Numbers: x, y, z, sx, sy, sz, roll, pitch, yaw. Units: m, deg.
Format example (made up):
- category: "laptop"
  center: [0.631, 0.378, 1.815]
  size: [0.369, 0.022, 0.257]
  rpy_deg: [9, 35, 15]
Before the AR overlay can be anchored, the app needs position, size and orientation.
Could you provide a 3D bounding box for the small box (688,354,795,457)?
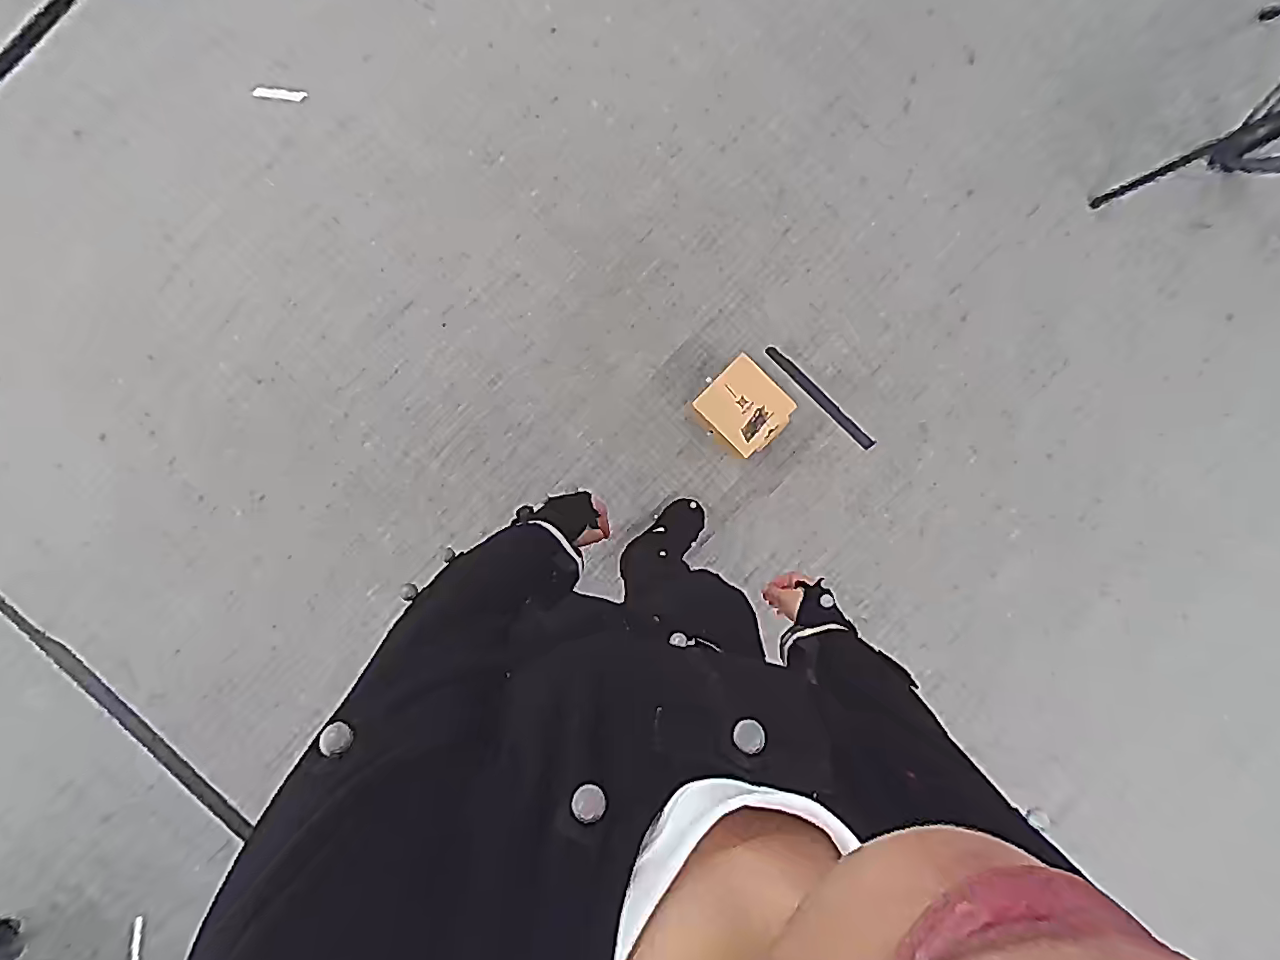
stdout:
- category: "small box"
  center: [0.234, -0.172, 1.289]
  size: [0.168, 0.176, 0.179]
  rpy_deg: [-45, 91, 1]
